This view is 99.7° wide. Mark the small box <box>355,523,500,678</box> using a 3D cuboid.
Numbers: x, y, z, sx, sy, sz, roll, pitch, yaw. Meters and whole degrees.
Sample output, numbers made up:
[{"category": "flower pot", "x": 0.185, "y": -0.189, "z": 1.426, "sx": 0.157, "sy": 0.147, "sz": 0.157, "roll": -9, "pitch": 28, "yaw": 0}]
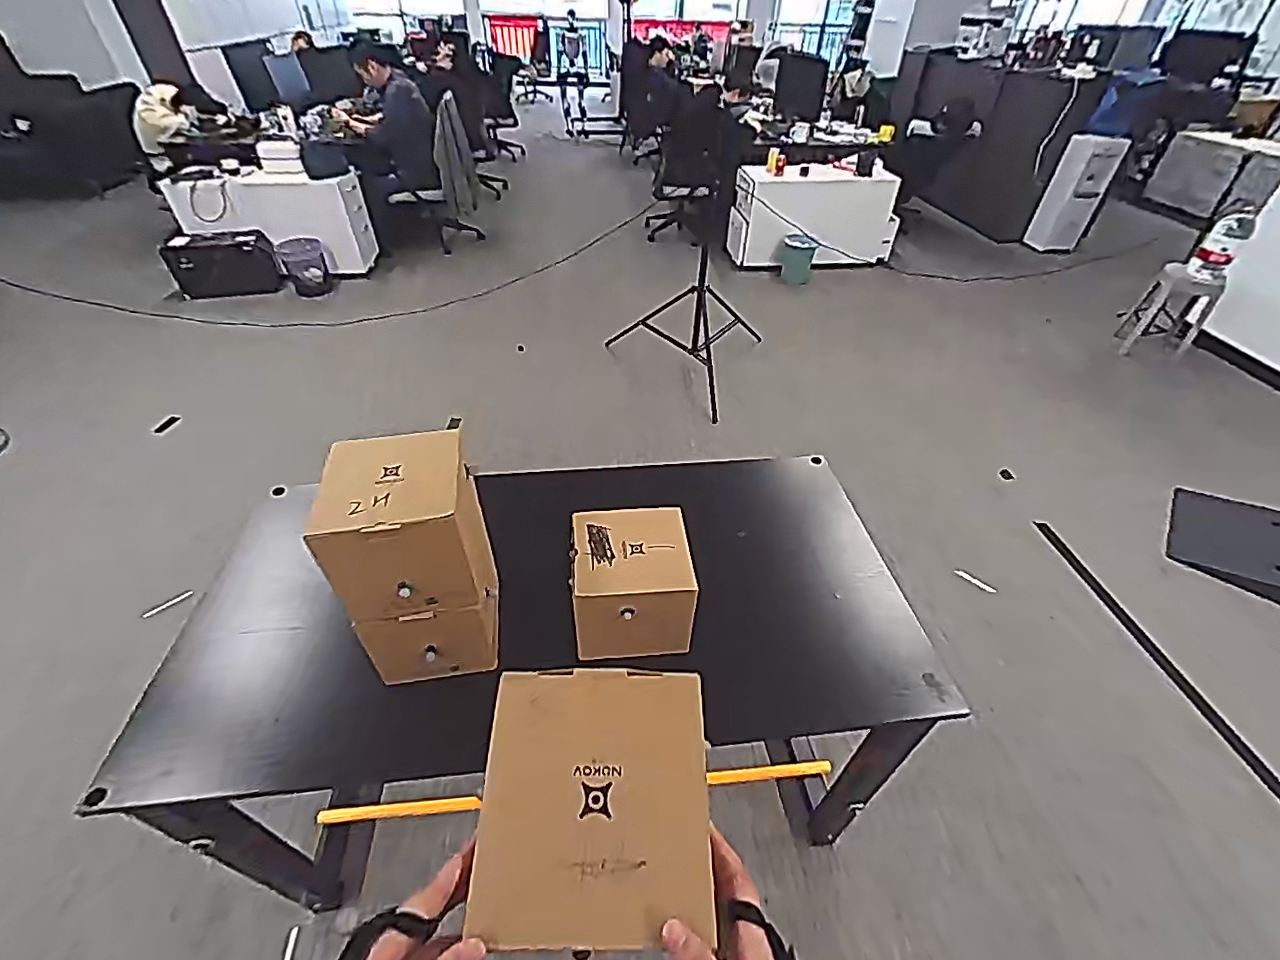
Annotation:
[{"category": "small box", "x": -0.313, "y": 0.188, "z": 0.838, "sx": 0.168, "sy": 0.176, "sz": 0.179, "roll": -7, "pitch": 43, "yaw": -8}]

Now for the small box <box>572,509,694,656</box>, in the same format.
[{"category": "small box", "x": -0.016, "y": 0.167, "z": 0.867, "sx": 0.179, "sy": 0.176, "sz": 0.168, "roll": -3, "pitch": 42, "yaw": -5}]

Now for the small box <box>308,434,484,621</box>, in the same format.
[{"category": "small box", "x": -0.311, "y": 0.061, "z": 0.731, "sx": 0.168, "sy": 0.176, "sz": 0.179, "roll": -8, "pitch": 42, "yaw": -9}]

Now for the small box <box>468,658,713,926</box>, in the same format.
[{"category": "small box", "x": -0.034, "y": 0.269, "z": 0.469, "sx": 0.168, "sy": 0.176, "sz": 0.179, "roll": 1, "pitch": 54, "yaw": -1}]
